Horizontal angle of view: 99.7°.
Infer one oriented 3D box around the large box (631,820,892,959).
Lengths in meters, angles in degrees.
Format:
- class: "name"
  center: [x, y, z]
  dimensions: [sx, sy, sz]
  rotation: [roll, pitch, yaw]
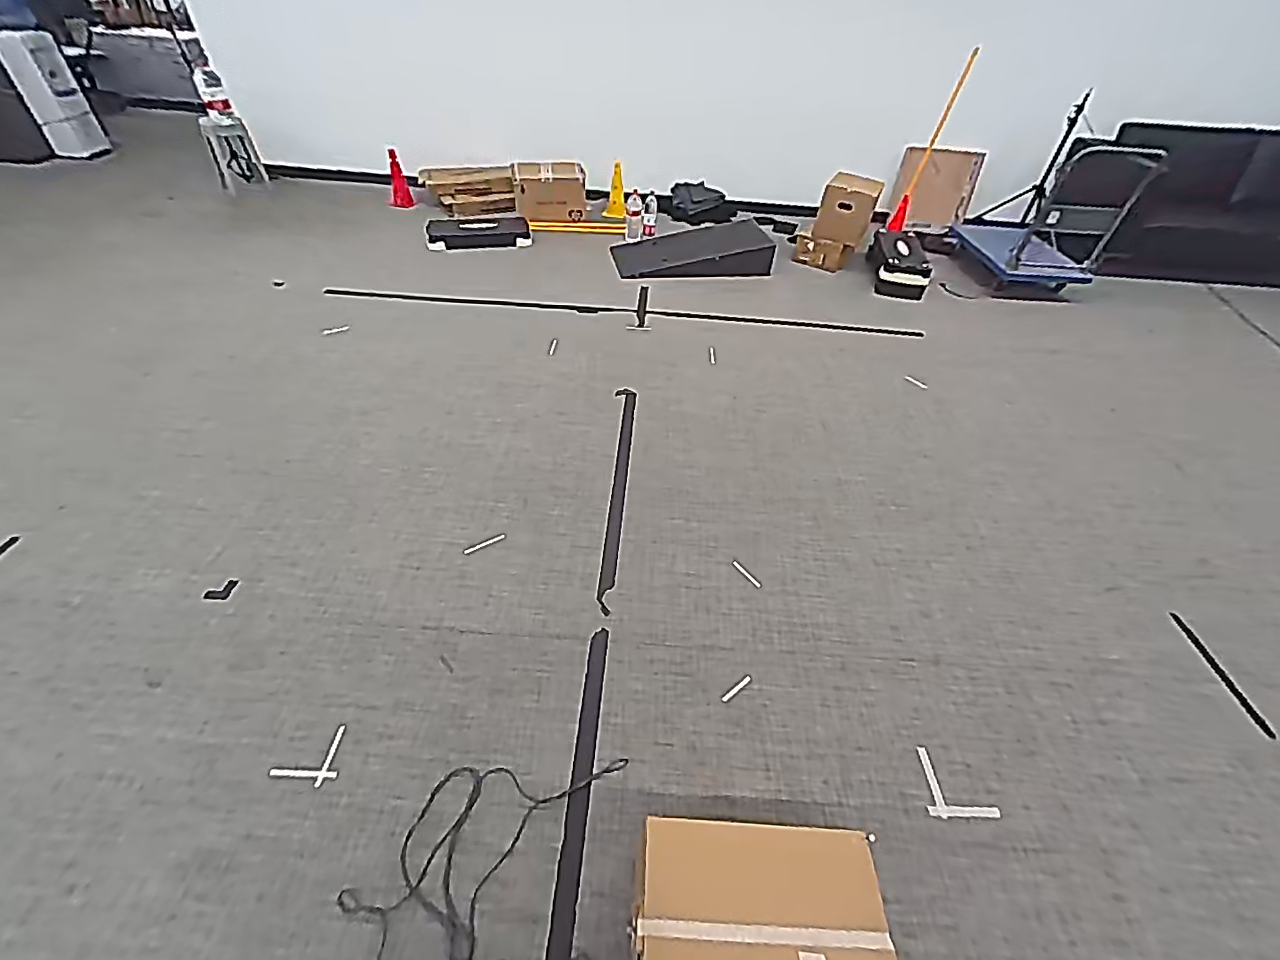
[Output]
- class: "large box"
  center: [0.191, 0.841, 0.969]
  dimensions: [0.408, 0.320, 0.320]
  rotation: [5, 43, -2]
